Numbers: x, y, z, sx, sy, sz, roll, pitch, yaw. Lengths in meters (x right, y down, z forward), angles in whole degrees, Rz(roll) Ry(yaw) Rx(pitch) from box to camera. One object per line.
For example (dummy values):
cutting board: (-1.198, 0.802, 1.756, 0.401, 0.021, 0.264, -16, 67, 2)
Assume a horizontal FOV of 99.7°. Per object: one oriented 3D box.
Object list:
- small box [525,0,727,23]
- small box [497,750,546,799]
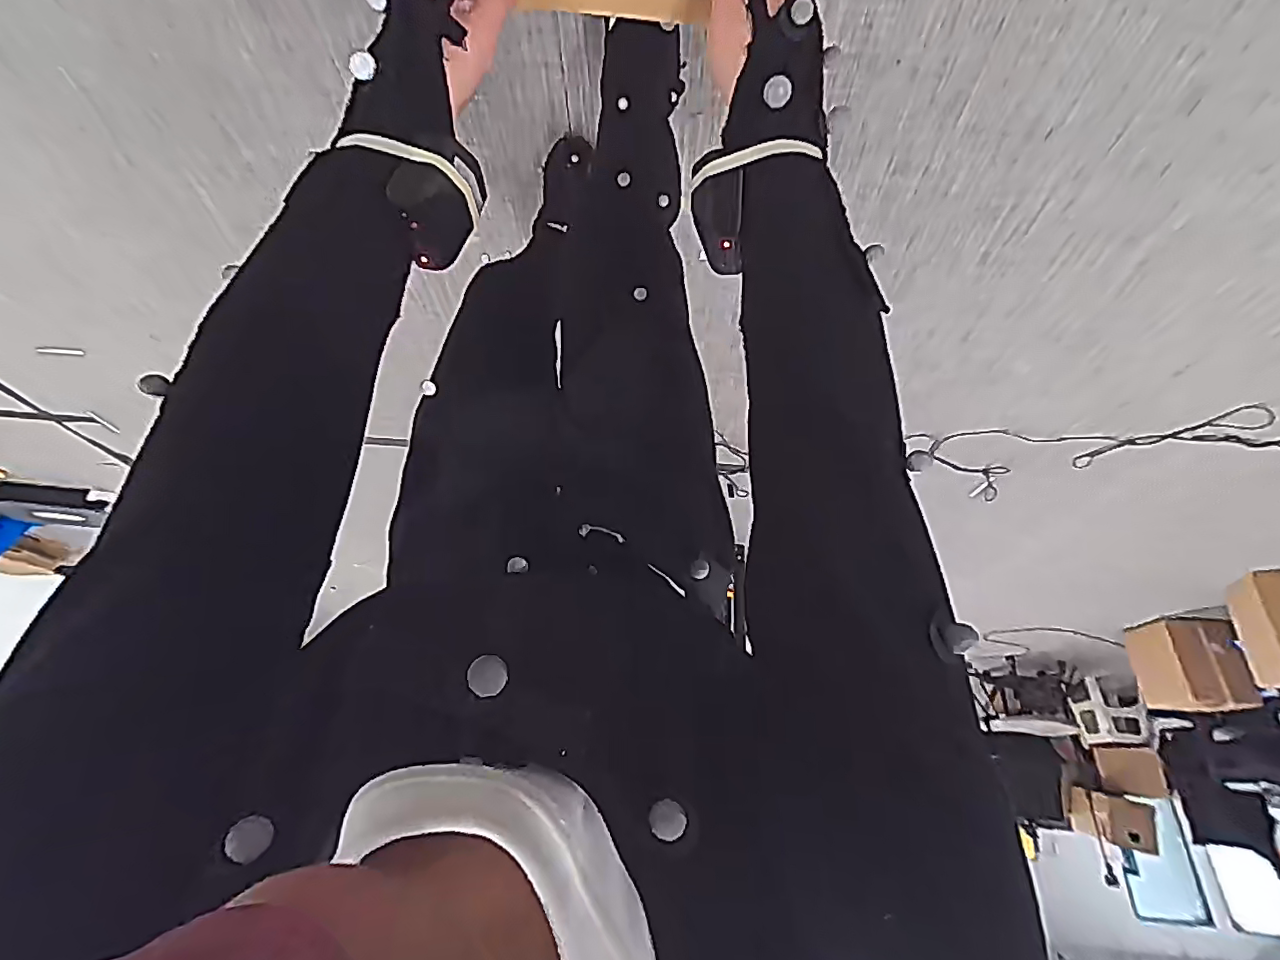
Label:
small box: (-0.018, -0.425, 0.332, 0.179, 0.176, 0.168, 5, 151, -1)
small box: (-0.500, 1.252, 2.299, 0.168, 0.176, 0.179, 5, 150, -1)
